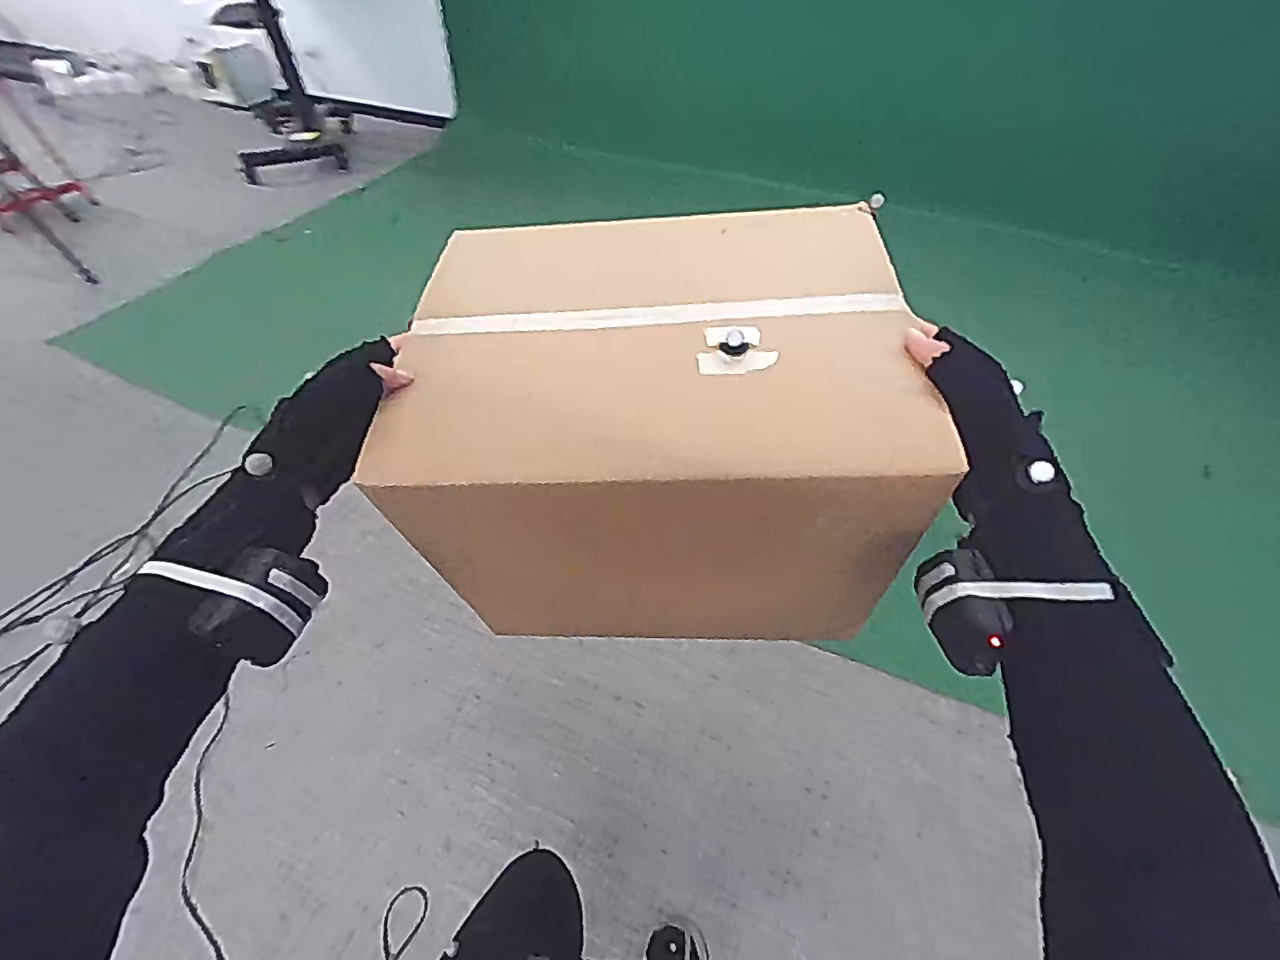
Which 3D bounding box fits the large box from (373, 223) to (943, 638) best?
[{"bbox_3d":[0.018,-0.035,0.575,0.408,0.320,0.320,-1,55,5],"label":"large box"}]
